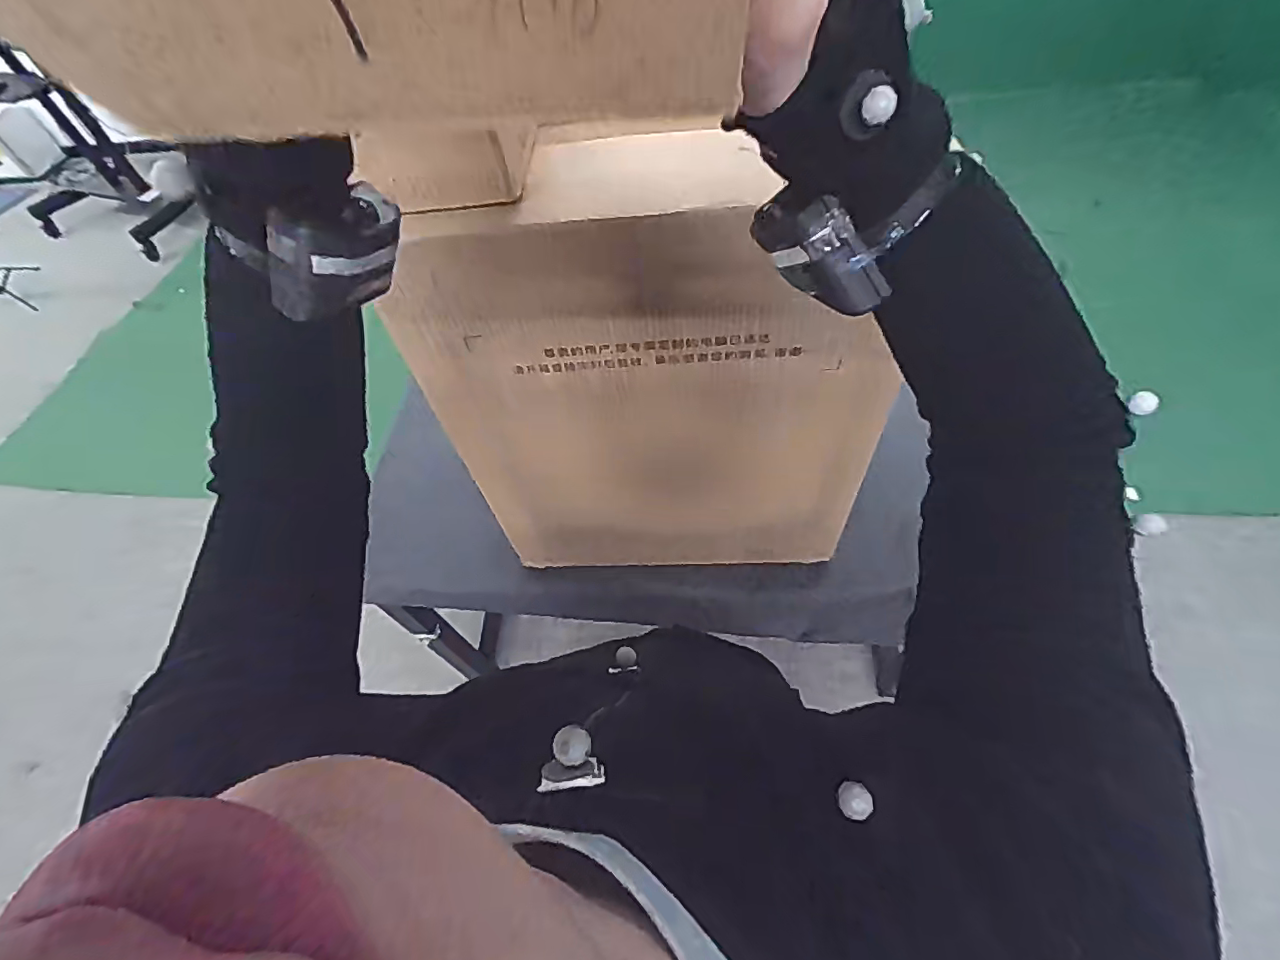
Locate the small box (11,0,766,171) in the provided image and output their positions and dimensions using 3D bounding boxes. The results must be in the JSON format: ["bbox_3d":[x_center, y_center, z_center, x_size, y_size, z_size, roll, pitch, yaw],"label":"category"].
[{"bbox_3d":[-0.054,-0.199,0.113,0.168,0.179,0.176,1,59,5],"label":"small box"}]
